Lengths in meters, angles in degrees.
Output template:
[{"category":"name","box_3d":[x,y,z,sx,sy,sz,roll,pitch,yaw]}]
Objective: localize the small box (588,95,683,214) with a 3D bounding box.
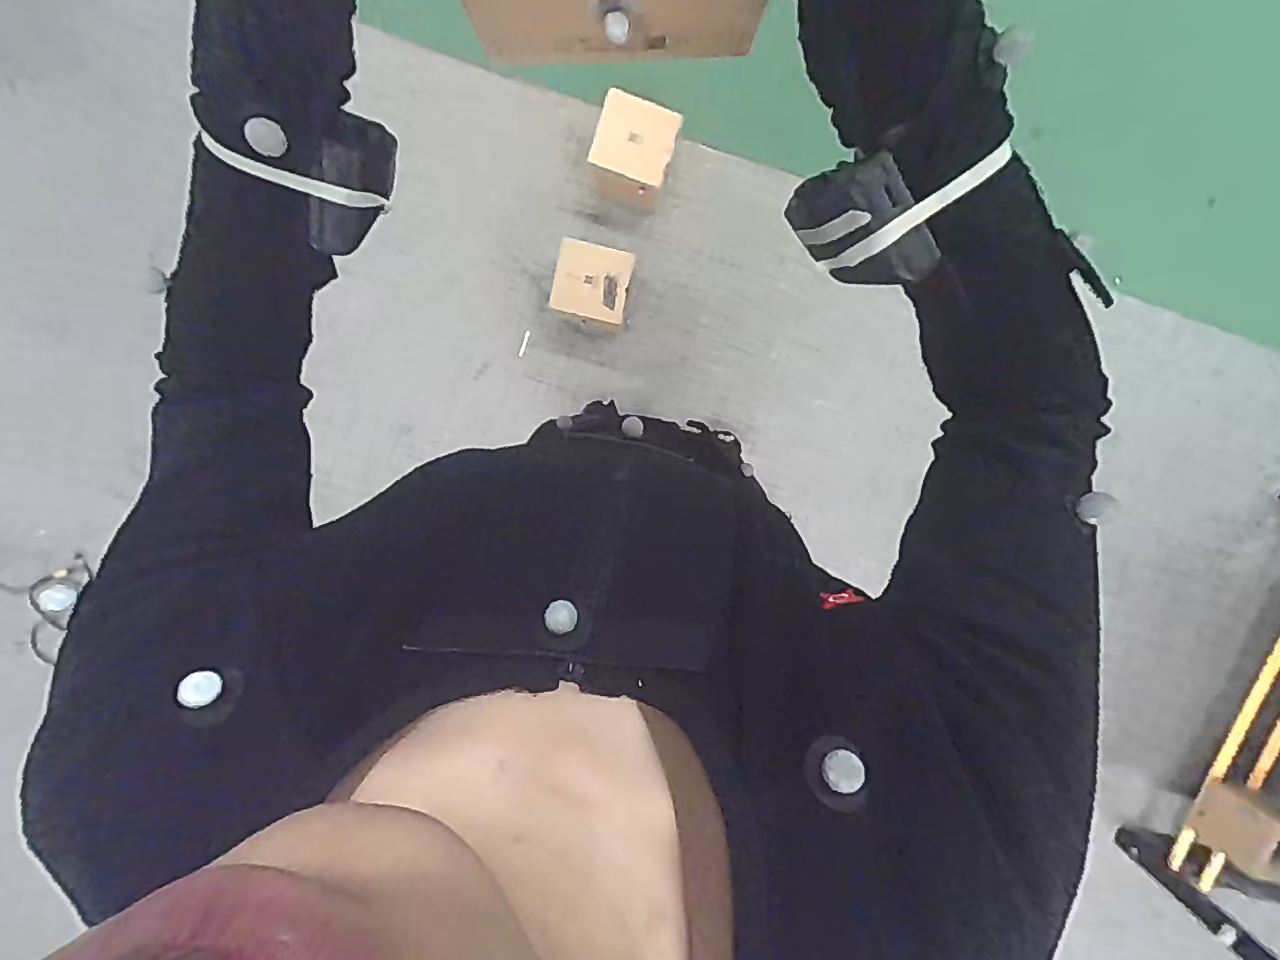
[{"category":"small box","box_3d":[-0.012,-0.770,1.298,0.179,0.176,0.168,18,98,-4]}]

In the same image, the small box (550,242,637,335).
[{"category":"small box","box_3d":[-0.110,-0.463,1.335,0.179,0.176,0.168,13,97,-2]}]
